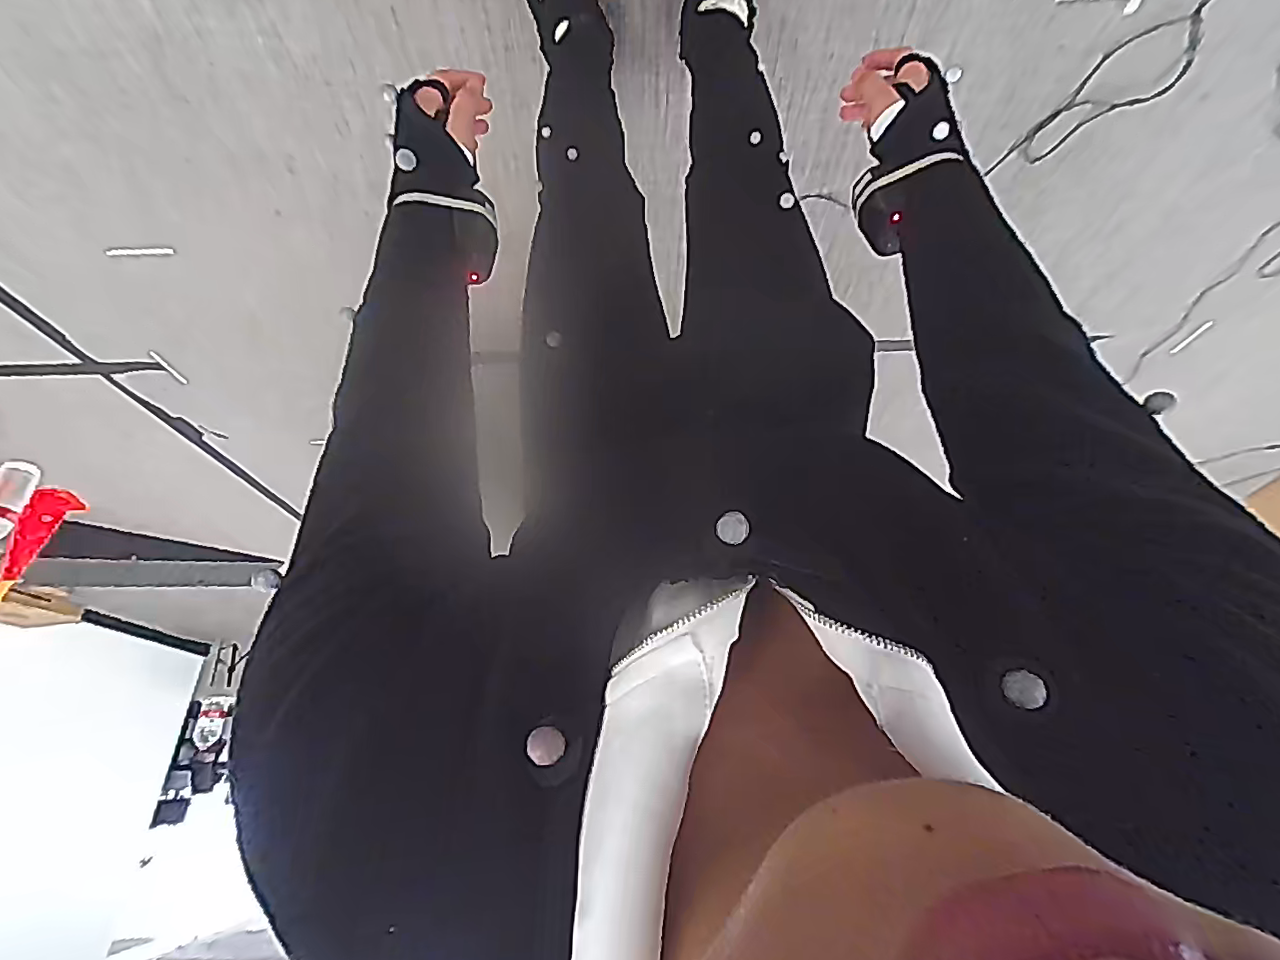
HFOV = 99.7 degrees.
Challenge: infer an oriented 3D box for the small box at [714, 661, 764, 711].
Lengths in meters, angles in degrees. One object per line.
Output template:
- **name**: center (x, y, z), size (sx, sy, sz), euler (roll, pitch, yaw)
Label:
- **small box**: center (0.398, 0.839, 2.199), size (0.168, 0.176, 0.179), euler (-4, 150, 0)
